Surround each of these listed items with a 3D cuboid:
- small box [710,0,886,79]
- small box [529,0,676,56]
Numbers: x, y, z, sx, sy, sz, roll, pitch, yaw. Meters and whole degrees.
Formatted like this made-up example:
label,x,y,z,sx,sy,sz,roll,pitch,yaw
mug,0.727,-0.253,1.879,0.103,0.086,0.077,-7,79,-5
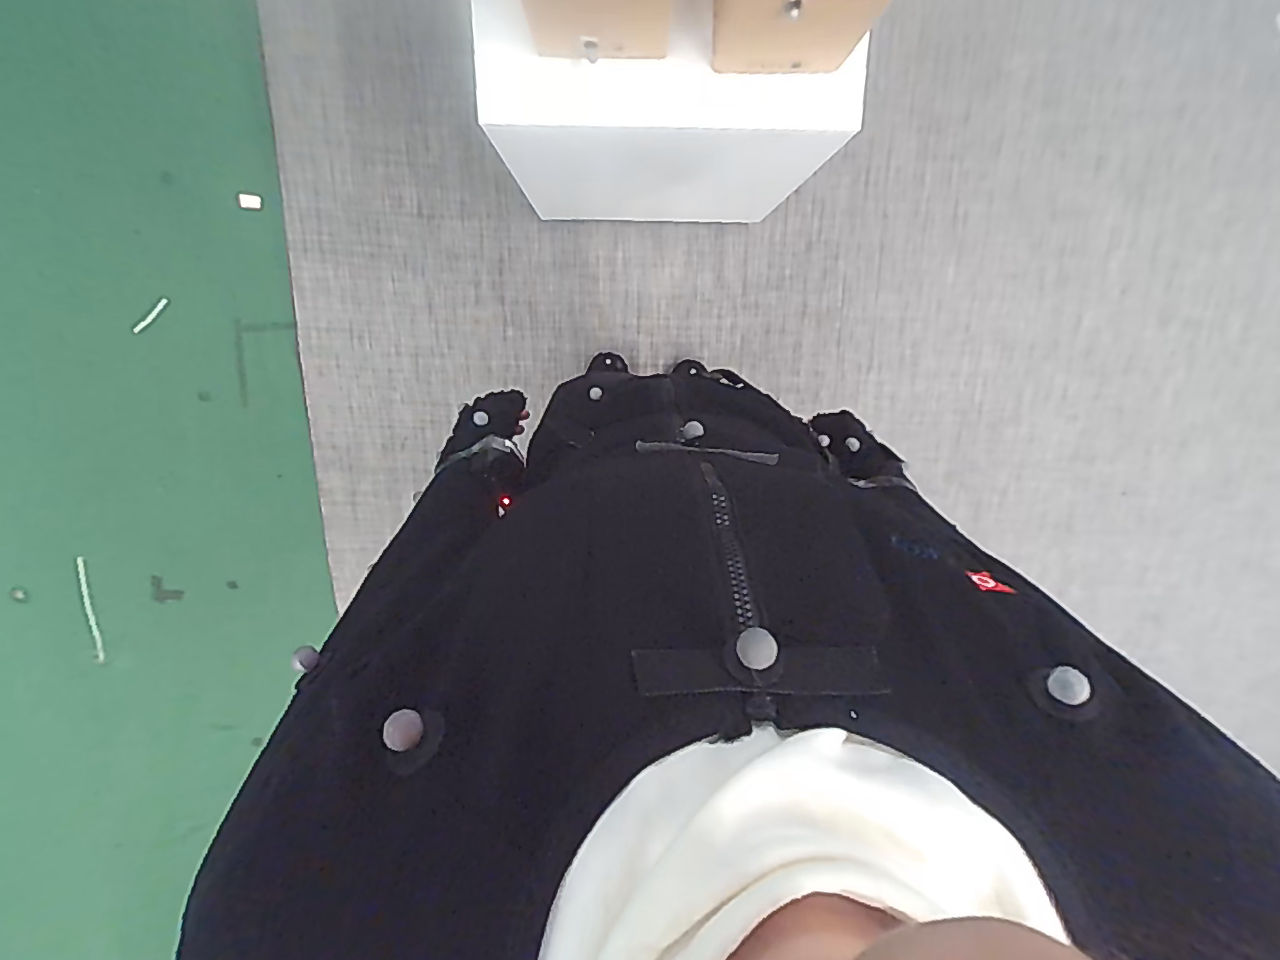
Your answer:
label,x,y,z,sx,sy,sz,roll,pitch,yaw
small box,0.174,-0.595,0.608,0.168,0.176,0.179,0,102,-2
small box,-0.045,-0.604,0.586,0.168,0.176,0.179,-2,105,-1
